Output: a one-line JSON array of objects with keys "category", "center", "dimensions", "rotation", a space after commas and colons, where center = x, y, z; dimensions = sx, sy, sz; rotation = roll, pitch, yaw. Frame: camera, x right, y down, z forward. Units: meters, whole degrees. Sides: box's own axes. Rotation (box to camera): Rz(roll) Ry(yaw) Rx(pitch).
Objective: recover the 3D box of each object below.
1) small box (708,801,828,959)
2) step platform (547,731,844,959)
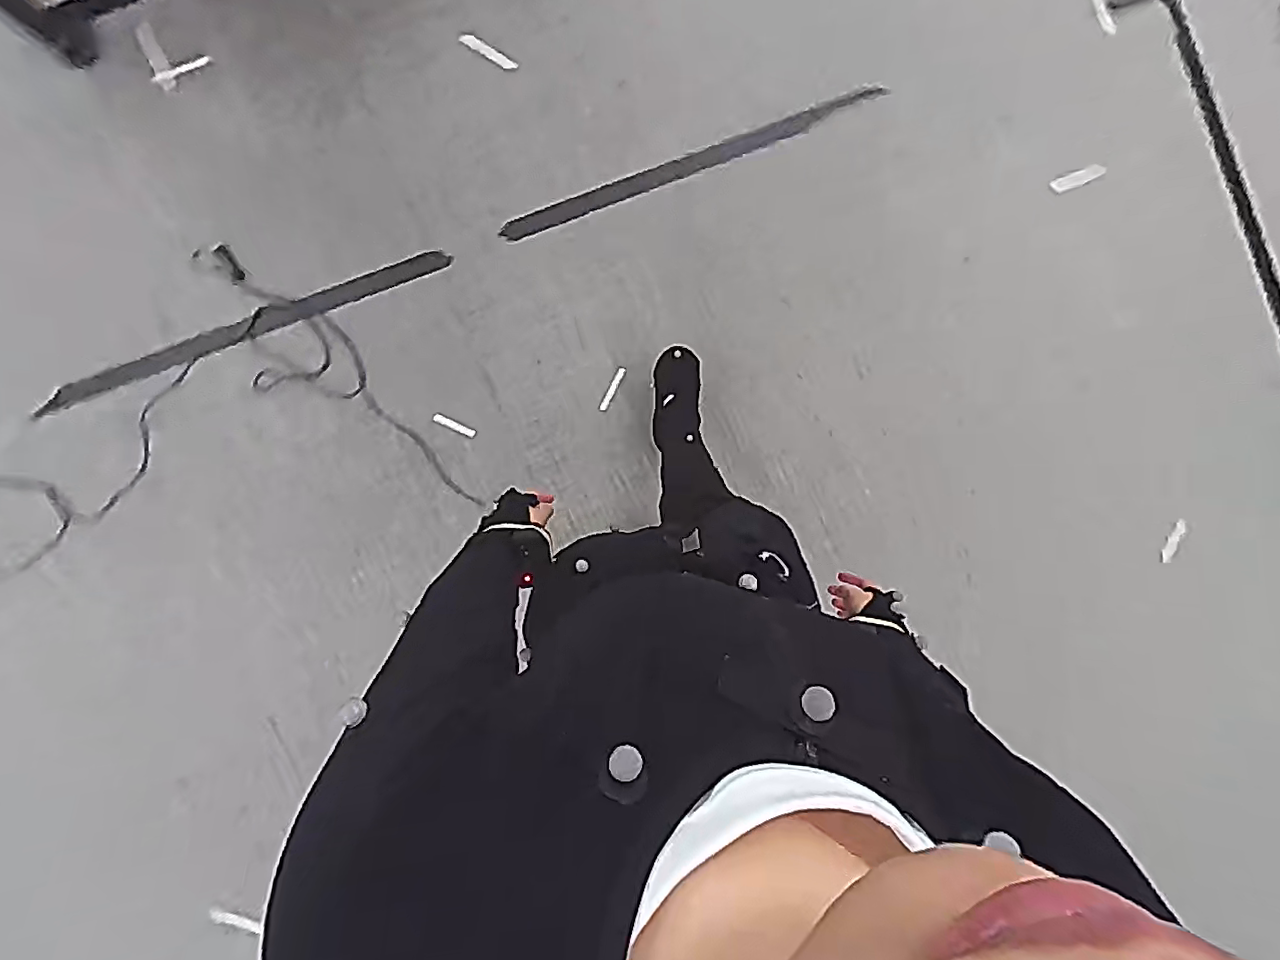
[{"category": "small box", "center": [0.259, 0.825, 1.130], "dimensions": [0.168, 0.176, 0.179], "rotation": [-22, 93, -4]}, {"category": "step platform", "center": [0.128, 0.889, 1.296], "dimensions": [0.684, 0.204, 0.286], "rotation": [-23, 94, -4]}]
